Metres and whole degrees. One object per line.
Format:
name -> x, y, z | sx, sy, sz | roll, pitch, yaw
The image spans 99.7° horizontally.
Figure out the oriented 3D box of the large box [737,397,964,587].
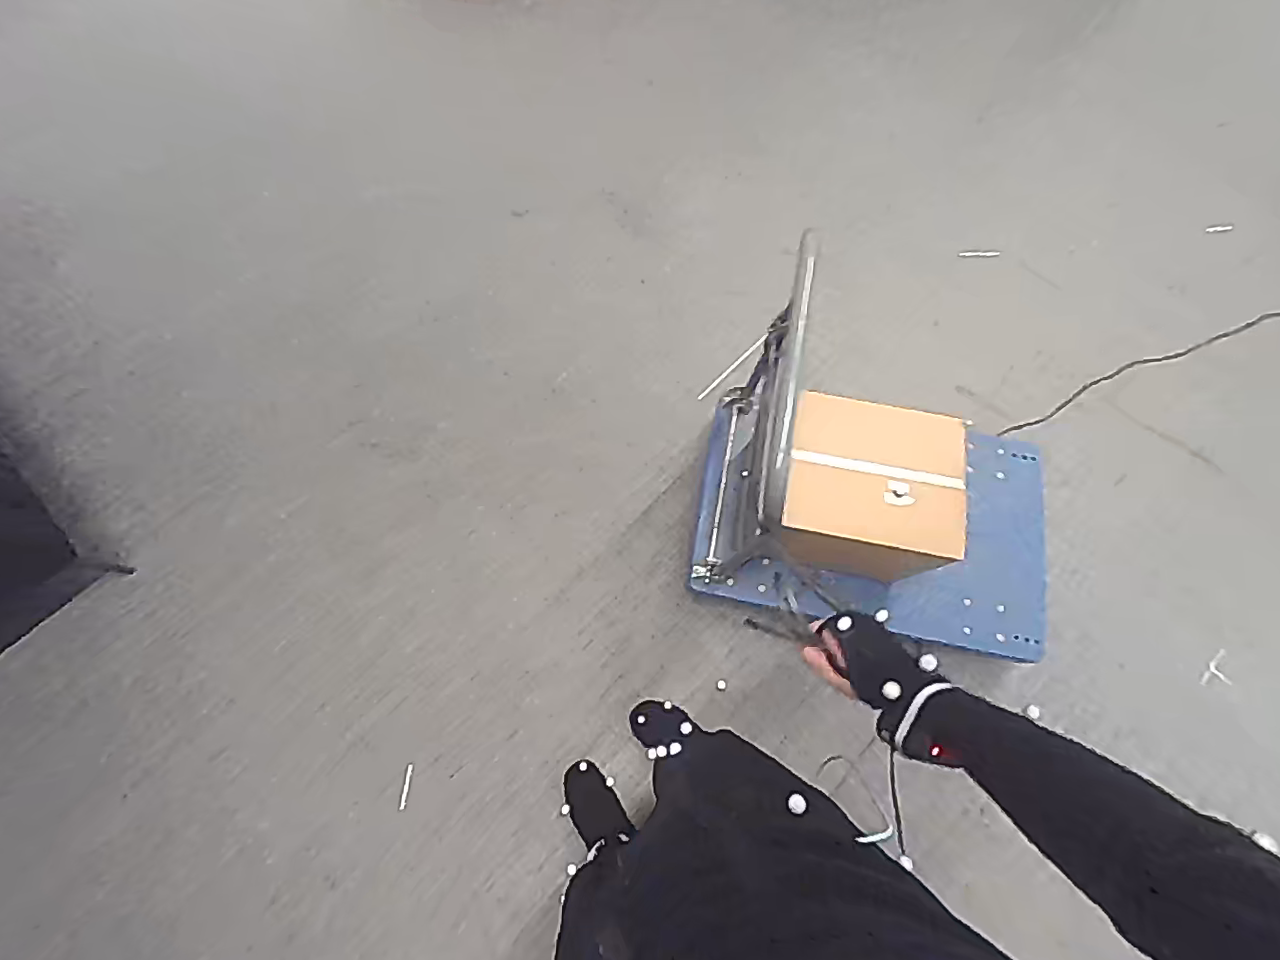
large box -> 0.461, 0.042, 1.250 | 0.408, 0.320, 0.320 | 11, 71, 3
